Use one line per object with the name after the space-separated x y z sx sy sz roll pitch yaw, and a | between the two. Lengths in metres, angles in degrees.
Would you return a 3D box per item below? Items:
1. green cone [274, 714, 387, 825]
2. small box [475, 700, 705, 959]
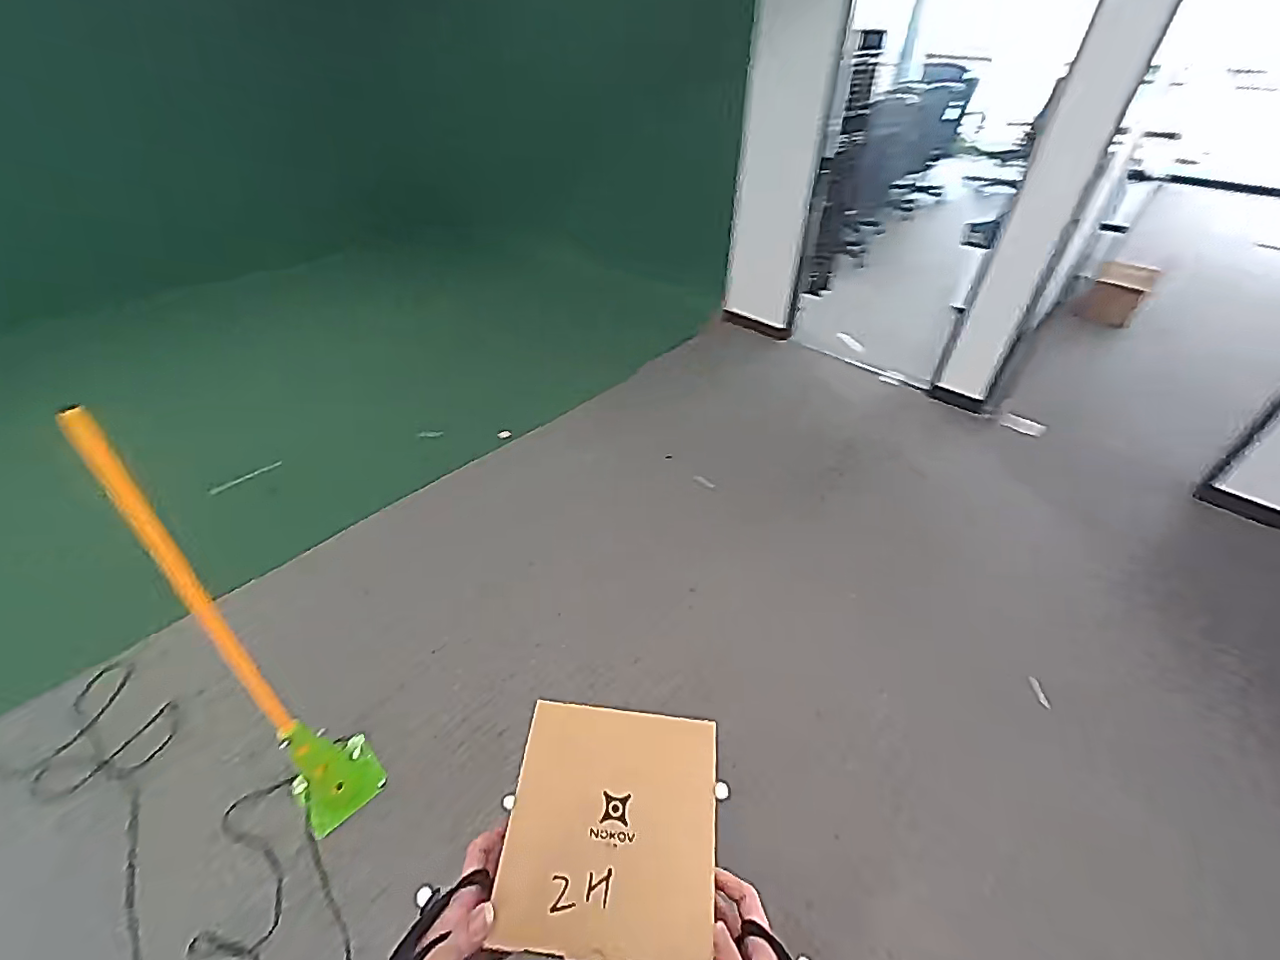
-0.847 0.701 1.412 0.202 0.368 0.200 -34 52 -31 | green cone
-0.036 0.330 0.501 0.168 0.176 0.179 6 48 2 | small box
